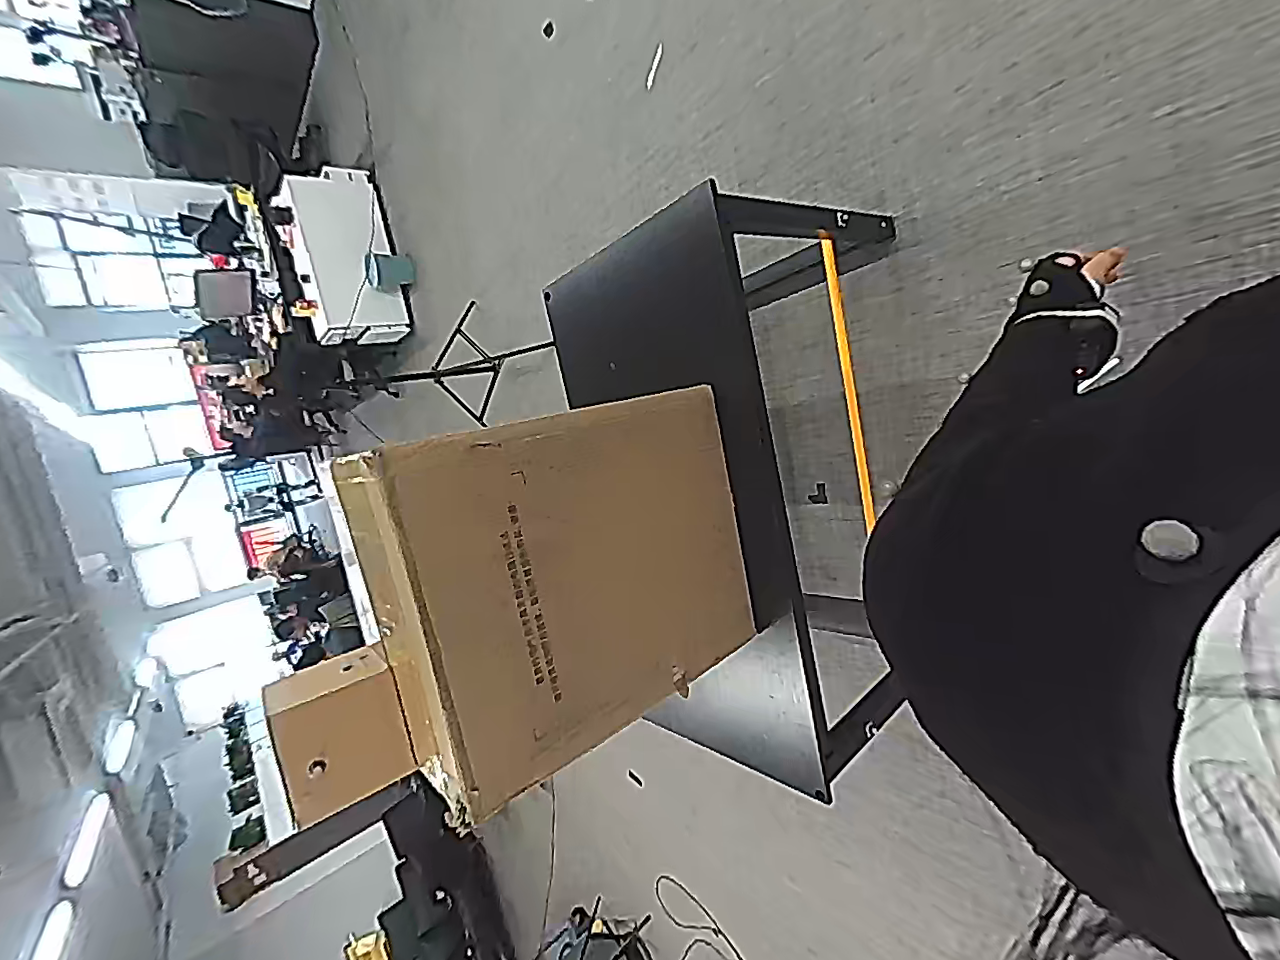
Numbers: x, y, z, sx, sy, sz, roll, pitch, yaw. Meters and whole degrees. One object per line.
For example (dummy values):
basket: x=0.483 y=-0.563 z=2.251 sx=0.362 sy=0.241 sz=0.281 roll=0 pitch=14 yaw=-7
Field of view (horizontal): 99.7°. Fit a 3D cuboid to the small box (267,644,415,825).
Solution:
small box: x=-0.476 y=0.390 z=0.865 sx=0.168 sy=0.176 sz=0.179 roll=-2 pitch=100 yaw=53
